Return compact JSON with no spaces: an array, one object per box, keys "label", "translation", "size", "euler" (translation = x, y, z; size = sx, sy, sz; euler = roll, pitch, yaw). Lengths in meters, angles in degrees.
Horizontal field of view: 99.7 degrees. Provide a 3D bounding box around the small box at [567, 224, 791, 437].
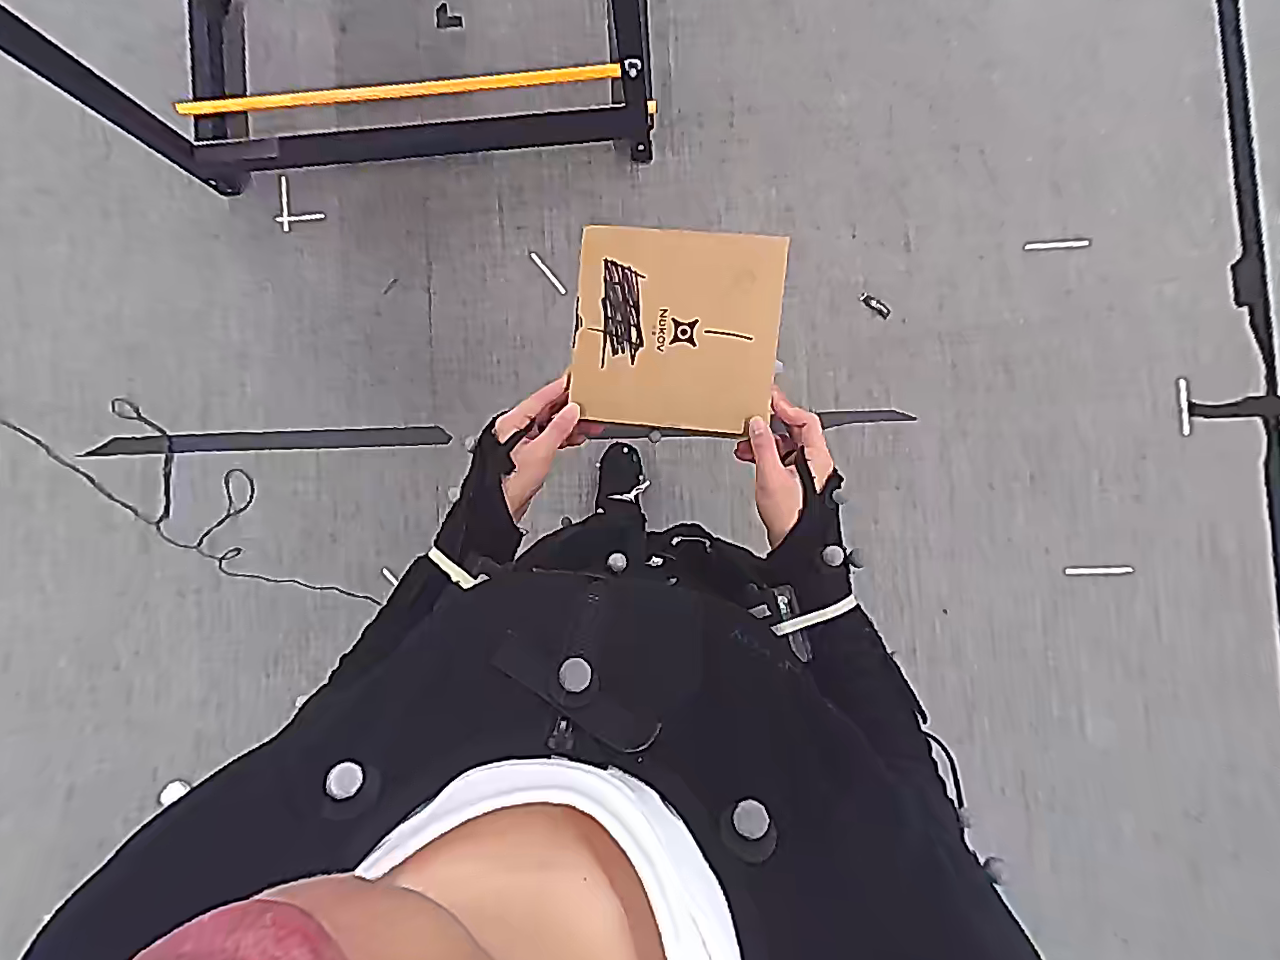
[{"label":"small box","translation":[0.040,-0.132,0.533],"size":[0.179,0.176,0.168],"euler":[6,94,7]}]
